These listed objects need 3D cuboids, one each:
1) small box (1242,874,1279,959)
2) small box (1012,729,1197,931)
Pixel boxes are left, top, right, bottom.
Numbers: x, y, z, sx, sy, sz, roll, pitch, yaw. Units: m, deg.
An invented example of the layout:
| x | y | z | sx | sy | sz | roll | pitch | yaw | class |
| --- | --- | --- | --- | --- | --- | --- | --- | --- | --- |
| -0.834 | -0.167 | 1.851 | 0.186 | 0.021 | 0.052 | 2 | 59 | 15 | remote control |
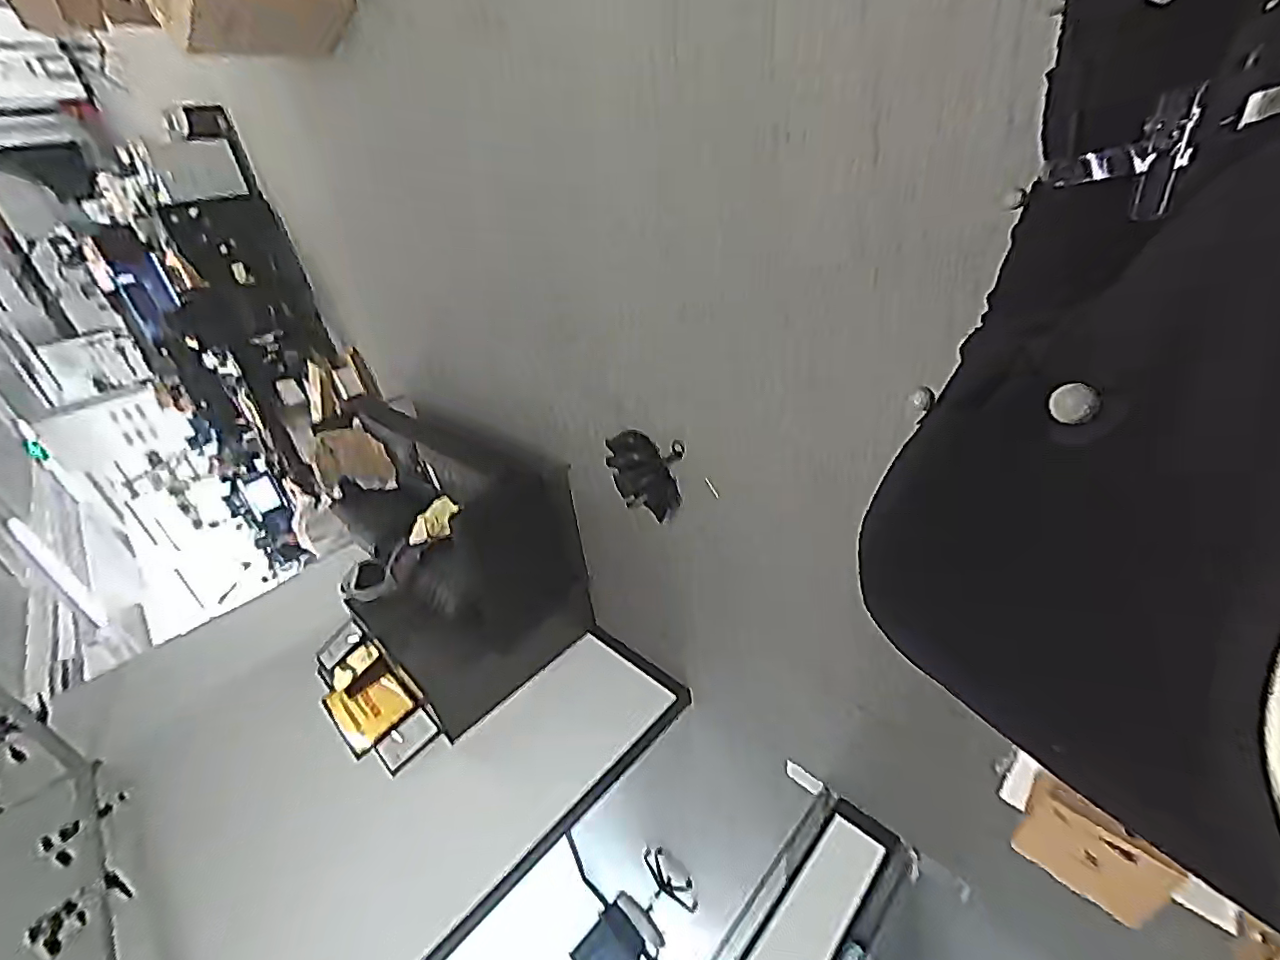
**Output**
| x | y | z | sx | sy | sz | roll | pitch | yaw | class |
| --- | --- | --- | --- | --- | --- | --- | --- | --- | --- |
| 0.919 | 0.643 | 0.692 | 0.168 | 0.176 | 0.179 | 25 | 134 | 40 | small box |
| 0.729 | 0.541 | 0.852 | 0.168 | 0.176 | 0.179 | 26 | 135 | 37 | small box |
